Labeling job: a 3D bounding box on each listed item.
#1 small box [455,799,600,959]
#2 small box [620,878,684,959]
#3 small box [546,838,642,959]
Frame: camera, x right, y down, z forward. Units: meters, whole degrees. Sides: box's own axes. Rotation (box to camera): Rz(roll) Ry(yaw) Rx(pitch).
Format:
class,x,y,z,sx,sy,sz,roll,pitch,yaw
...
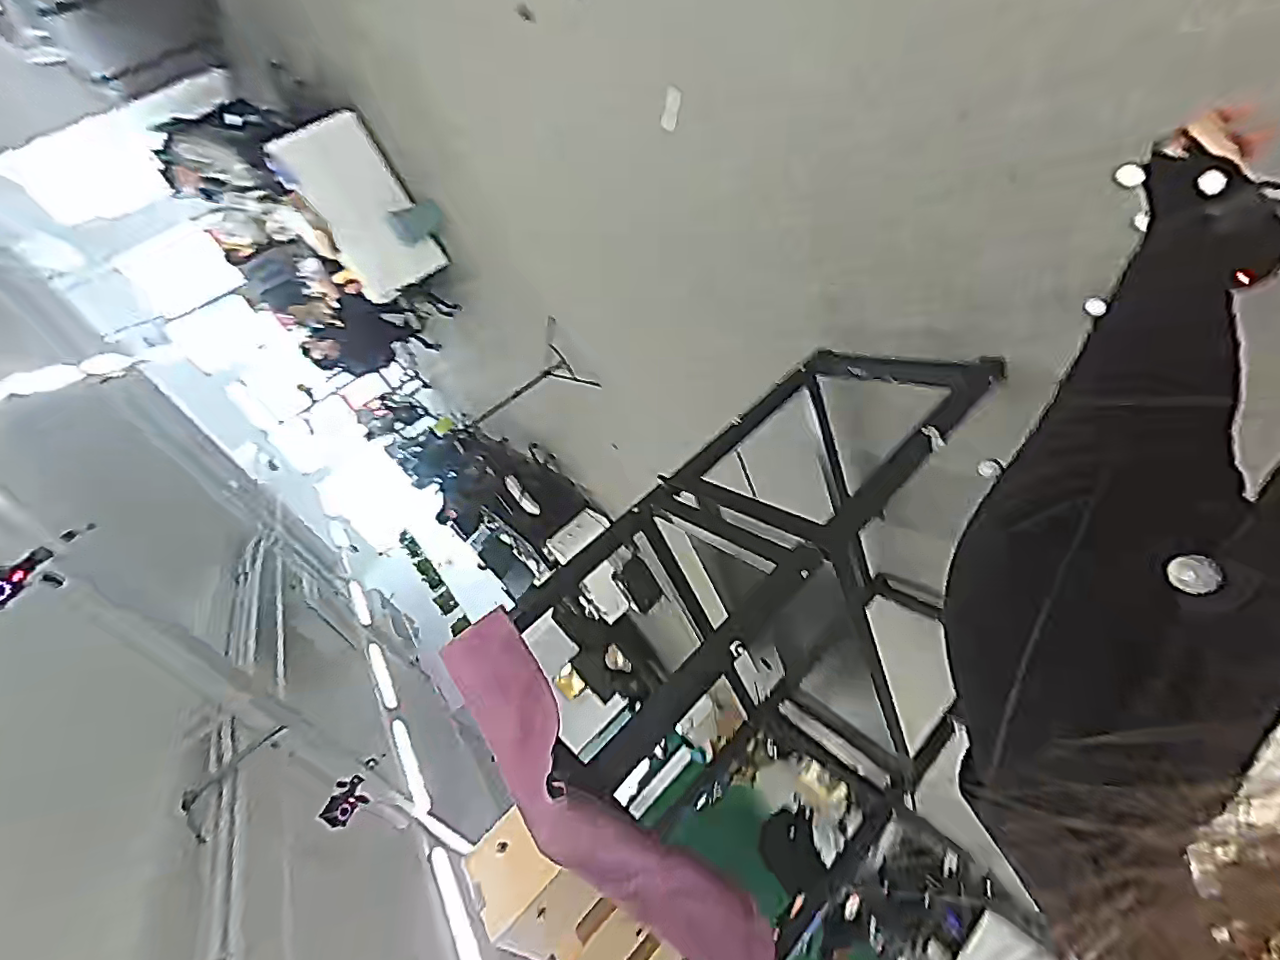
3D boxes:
class,x,y,z,sx,sy,sz,roll,pitch,yaw
small box,-0.206,0.741,1.009,0.168,0.176,0.179,30,153,49
small box,-0.021,1.116,1.300,0.168,0.176,0.179,27,150,49
small box,-0.117,0.924,1.156,0.179,0.176,0.168,26,150,53
